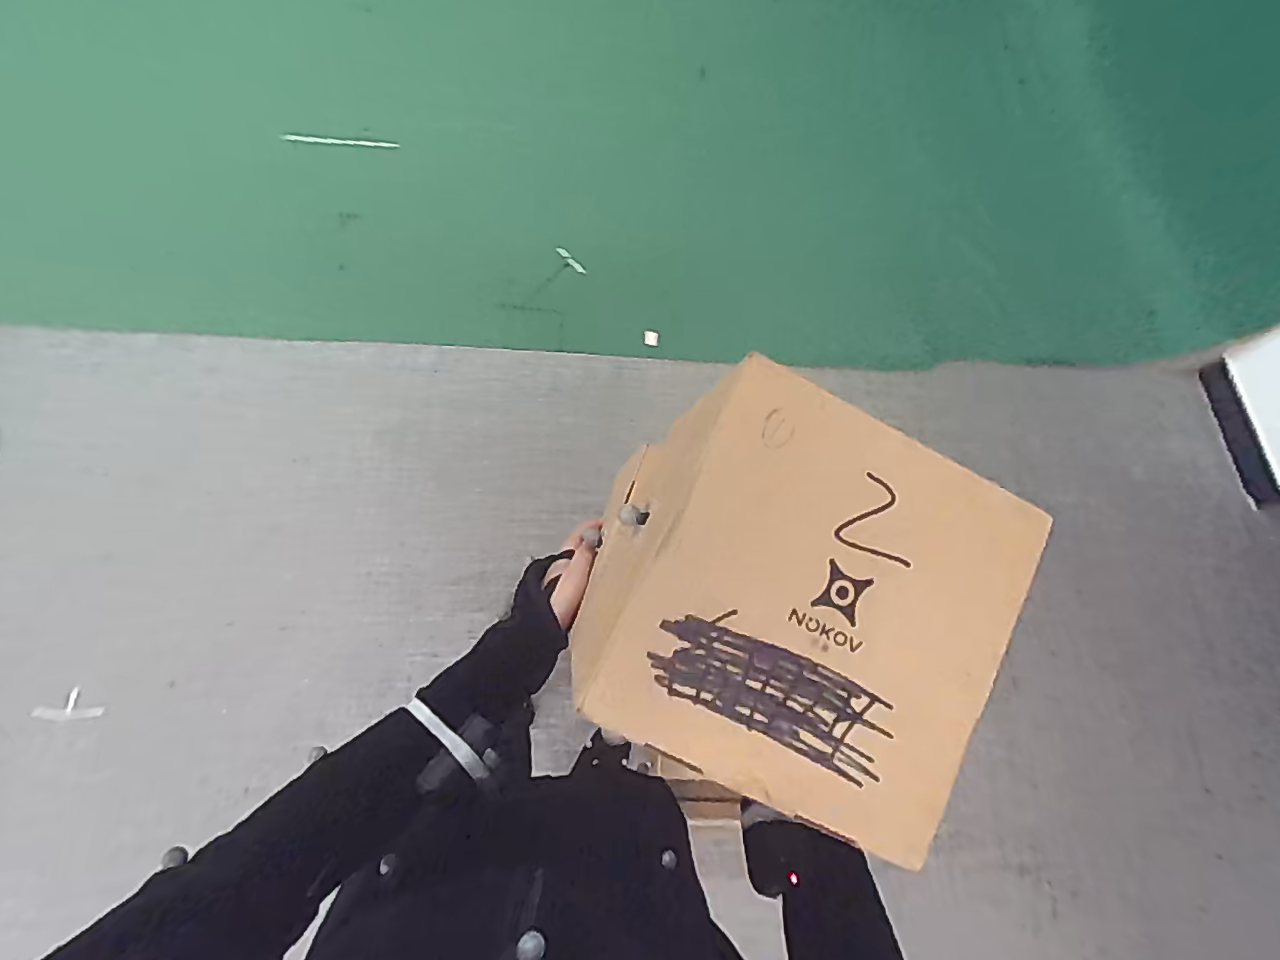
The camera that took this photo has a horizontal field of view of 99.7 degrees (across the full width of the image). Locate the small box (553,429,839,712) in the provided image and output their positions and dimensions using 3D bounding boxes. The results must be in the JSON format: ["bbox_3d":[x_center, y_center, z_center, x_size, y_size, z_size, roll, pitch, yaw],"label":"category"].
[{"bbox_3d":[0.036,0.072,0.477,0.179,0.176,0.168,20,85,-5],"label":"small box"}]
